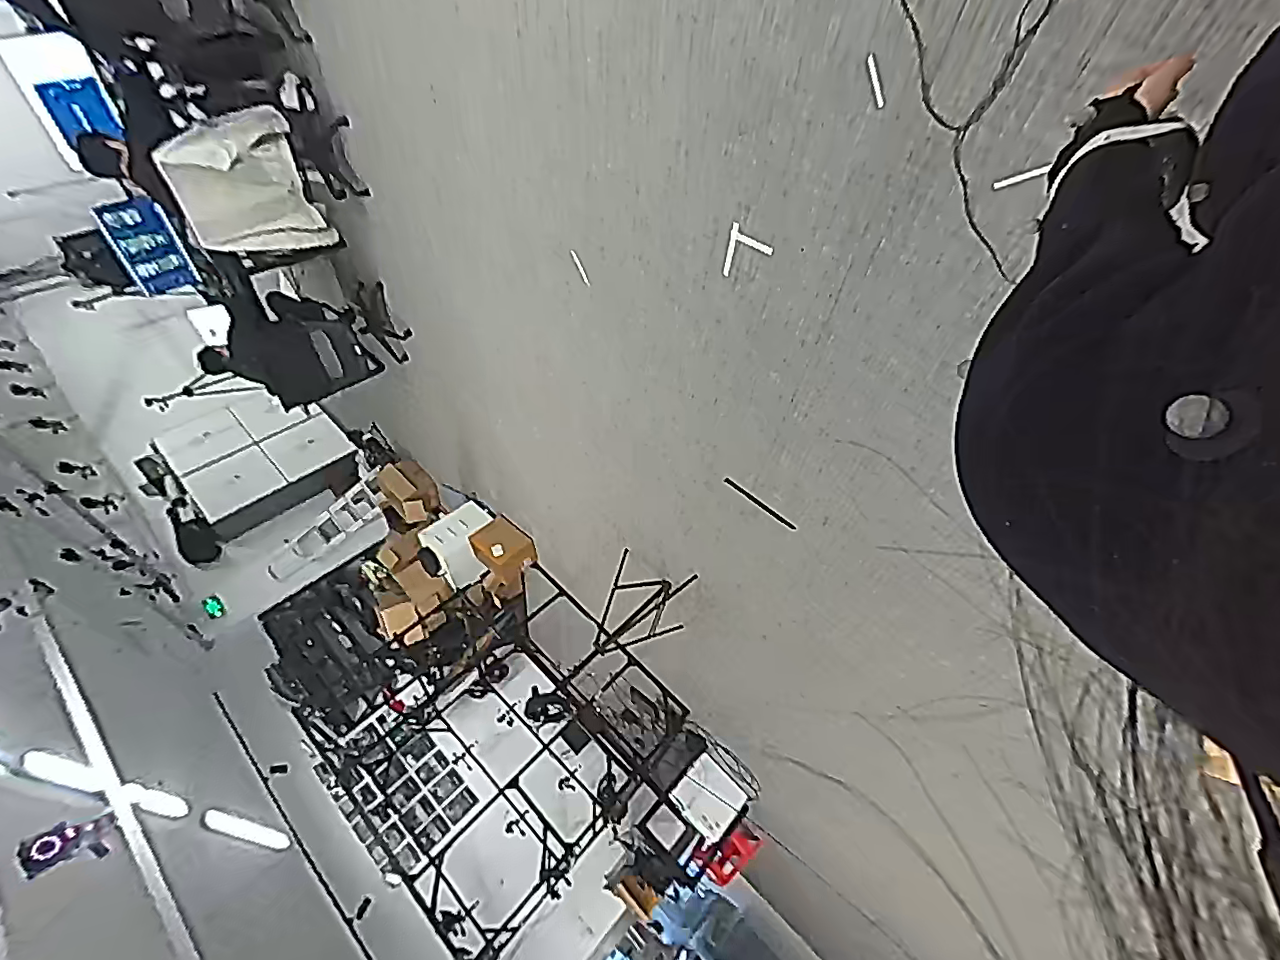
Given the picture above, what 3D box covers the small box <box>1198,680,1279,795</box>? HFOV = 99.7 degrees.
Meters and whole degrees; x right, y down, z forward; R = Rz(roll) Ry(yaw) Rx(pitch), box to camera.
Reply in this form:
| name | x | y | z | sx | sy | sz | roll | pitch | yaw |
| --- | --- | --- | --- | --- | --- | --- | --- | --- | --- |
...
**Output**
| name | x | y | z | sx | sy | sz | roll | pitch | yaw |
| --- | --- | --- | --- | --- | --- | --- | --- | --- | --- |
| small box | 1.526 | 0.638 | 1.348 | 0.168 | 0.176 | 0.179 | 8 | 129 | 50 |
